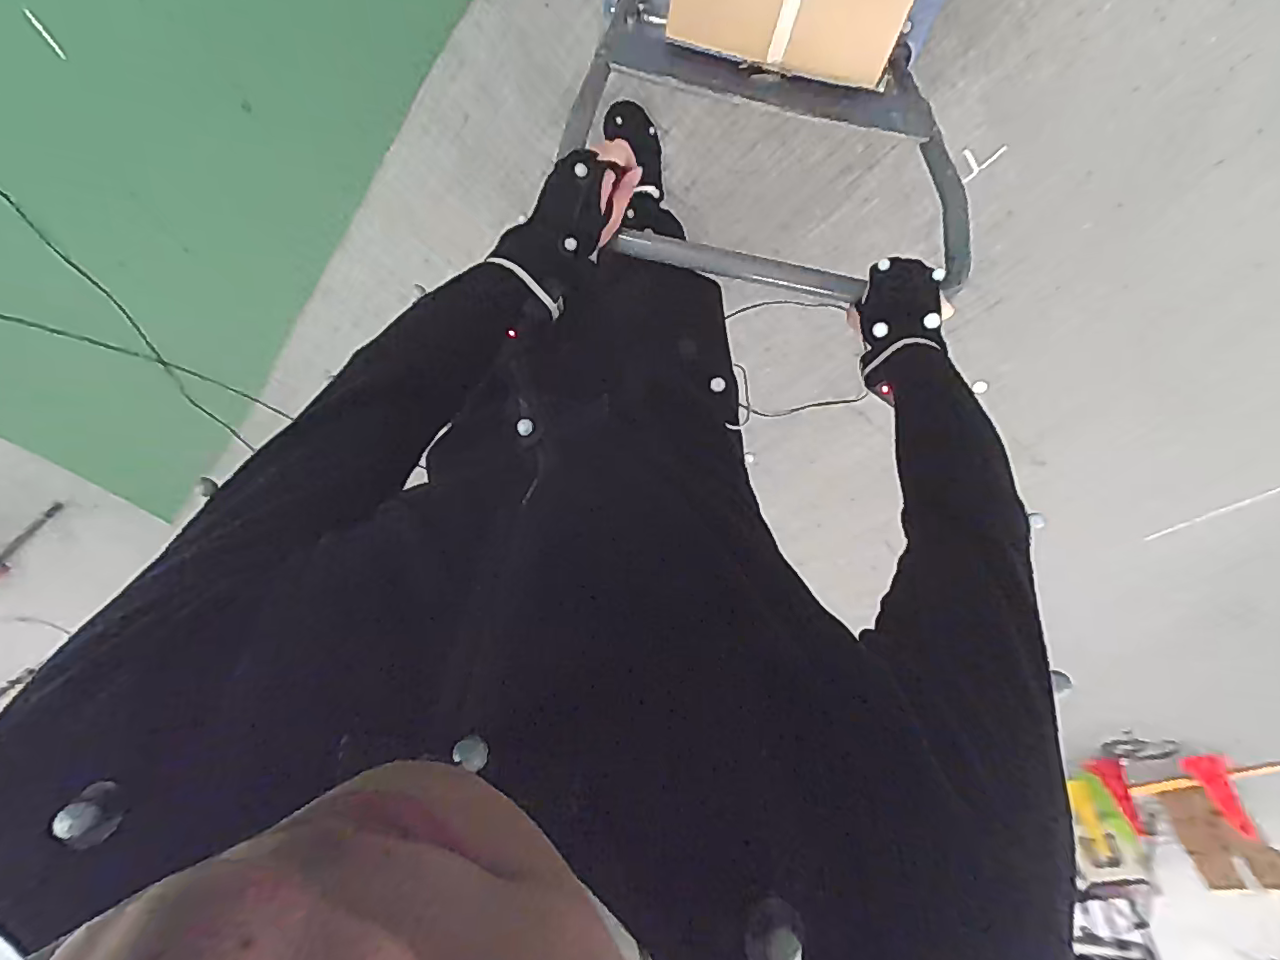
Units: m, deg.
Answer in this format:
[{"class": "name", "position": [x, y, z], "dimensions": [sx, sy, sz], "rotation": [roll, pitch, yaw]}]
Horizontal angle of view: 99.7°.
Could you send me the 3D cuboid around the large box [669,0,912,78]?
[{"class": "large box", "position": [0.239, -0.833, 0.702], "dimensions": [0.320, 0.320, 0.408], "rotation": [12, 141, -4]}]
